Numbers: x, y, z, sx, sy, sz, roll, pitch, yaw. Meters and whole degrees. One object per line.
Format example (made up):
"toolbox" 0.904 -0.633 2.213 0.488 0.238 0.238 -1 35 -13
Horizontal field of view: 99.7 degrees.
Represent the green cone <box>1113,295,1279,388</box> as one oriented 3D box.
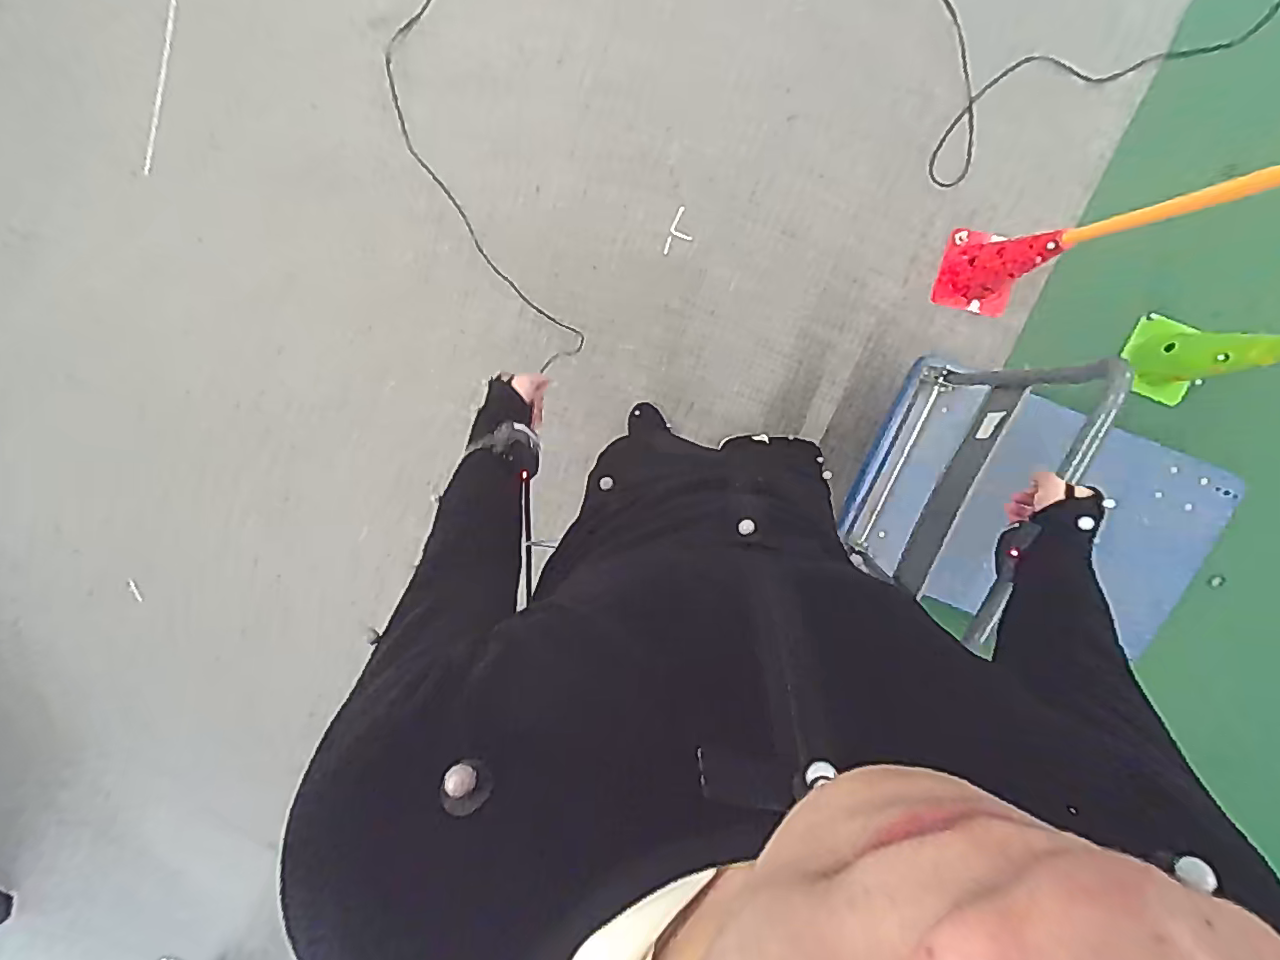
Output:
"green cone" 1.368 -0.335 1.258 0.202 0.368 0.200 20 100 0
